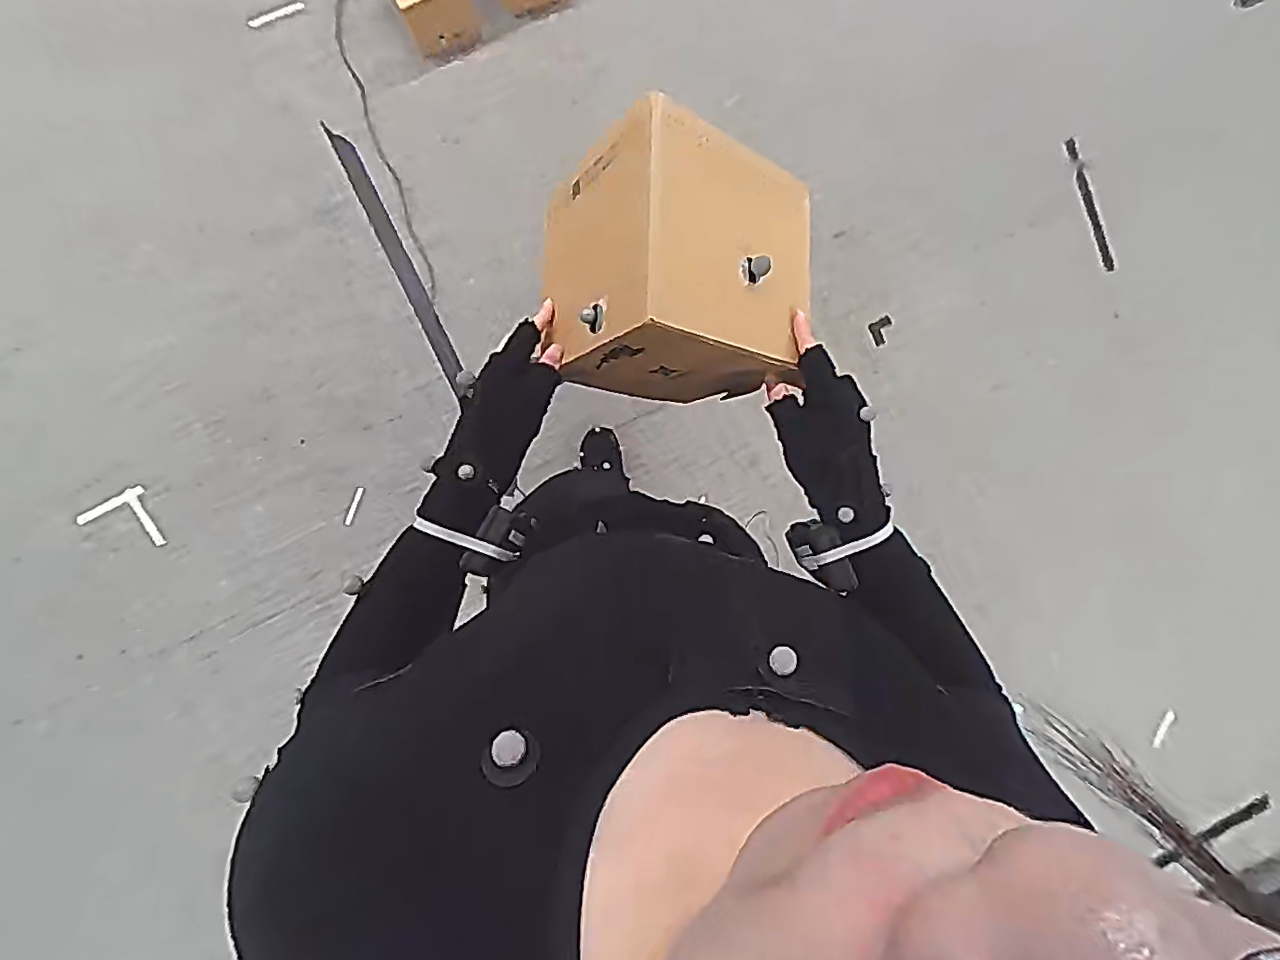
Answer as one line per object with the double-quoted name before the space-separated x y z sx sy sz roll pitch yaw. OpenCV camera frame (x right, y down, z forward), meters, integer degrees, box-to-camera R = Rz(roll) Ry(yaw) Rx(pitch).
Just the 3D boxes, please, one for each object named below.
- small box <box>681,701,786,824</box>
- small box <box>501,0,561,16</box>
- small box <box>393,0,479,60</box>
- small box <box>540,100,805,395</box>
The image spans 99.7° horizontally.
"small box" 0.214 0.657 1.290 0.168 0.176 0.179 -27 97 -3
"small box" -0.280 -1.272 1.293 0.179 0.176 0.168 -24 96 -5
"small box" -0.502 -1.157 1.276 0.168 0.176 0.179 -25 97 -3
"small box" 0.027 -0.182 0.477 0.179 0.168 0.176 4 84 -36
